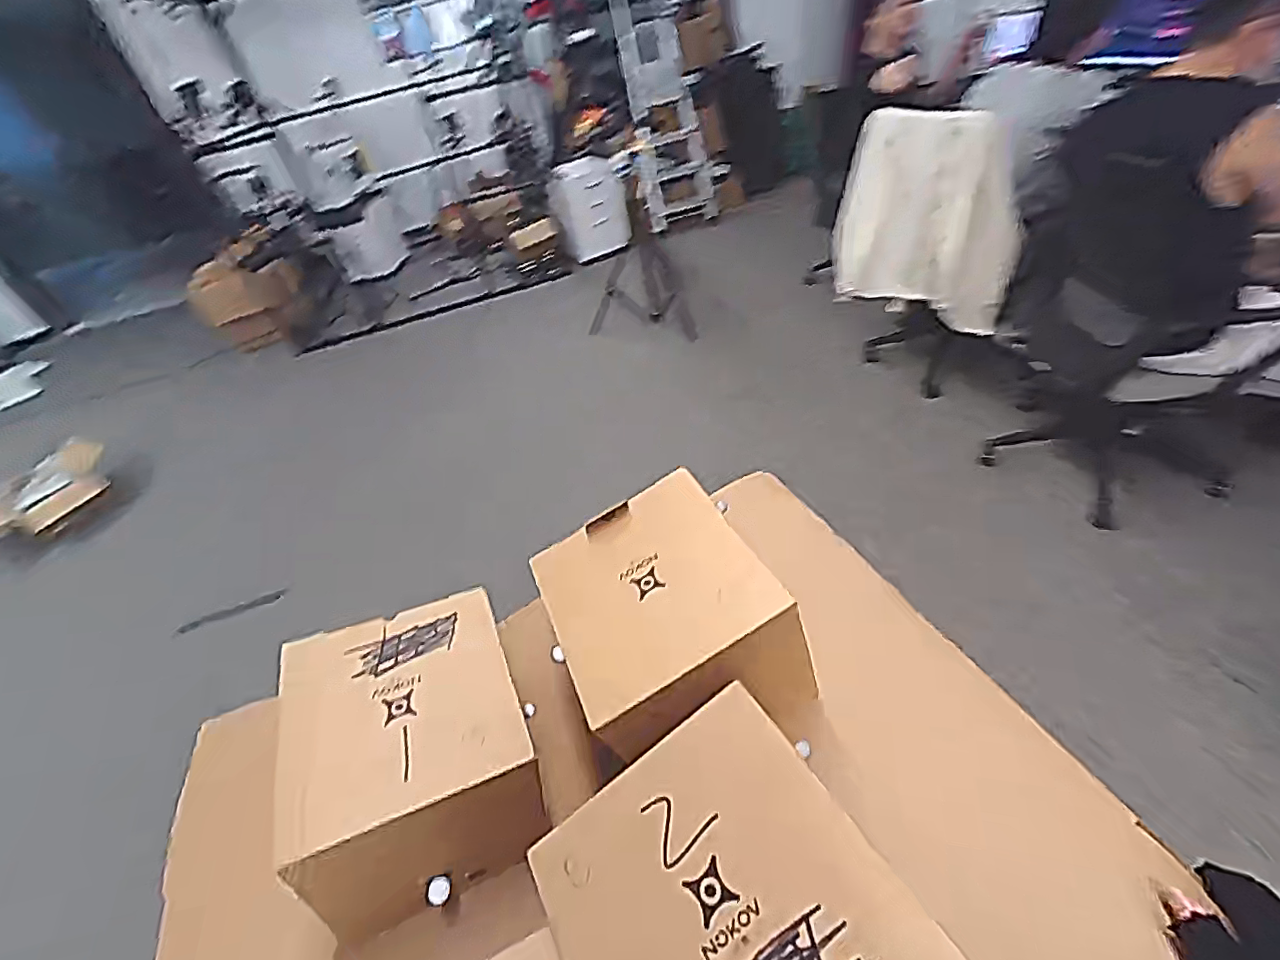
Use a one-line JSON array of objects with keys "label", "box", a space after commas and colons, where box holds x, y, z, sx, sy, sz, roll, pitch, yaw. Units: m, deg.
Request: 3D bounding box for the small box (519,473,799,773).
[{"label": "small box", "box": [0.021, 0.133, 0.486, 0.168, 0.176, 0.179, -32, 42, -6]}]
